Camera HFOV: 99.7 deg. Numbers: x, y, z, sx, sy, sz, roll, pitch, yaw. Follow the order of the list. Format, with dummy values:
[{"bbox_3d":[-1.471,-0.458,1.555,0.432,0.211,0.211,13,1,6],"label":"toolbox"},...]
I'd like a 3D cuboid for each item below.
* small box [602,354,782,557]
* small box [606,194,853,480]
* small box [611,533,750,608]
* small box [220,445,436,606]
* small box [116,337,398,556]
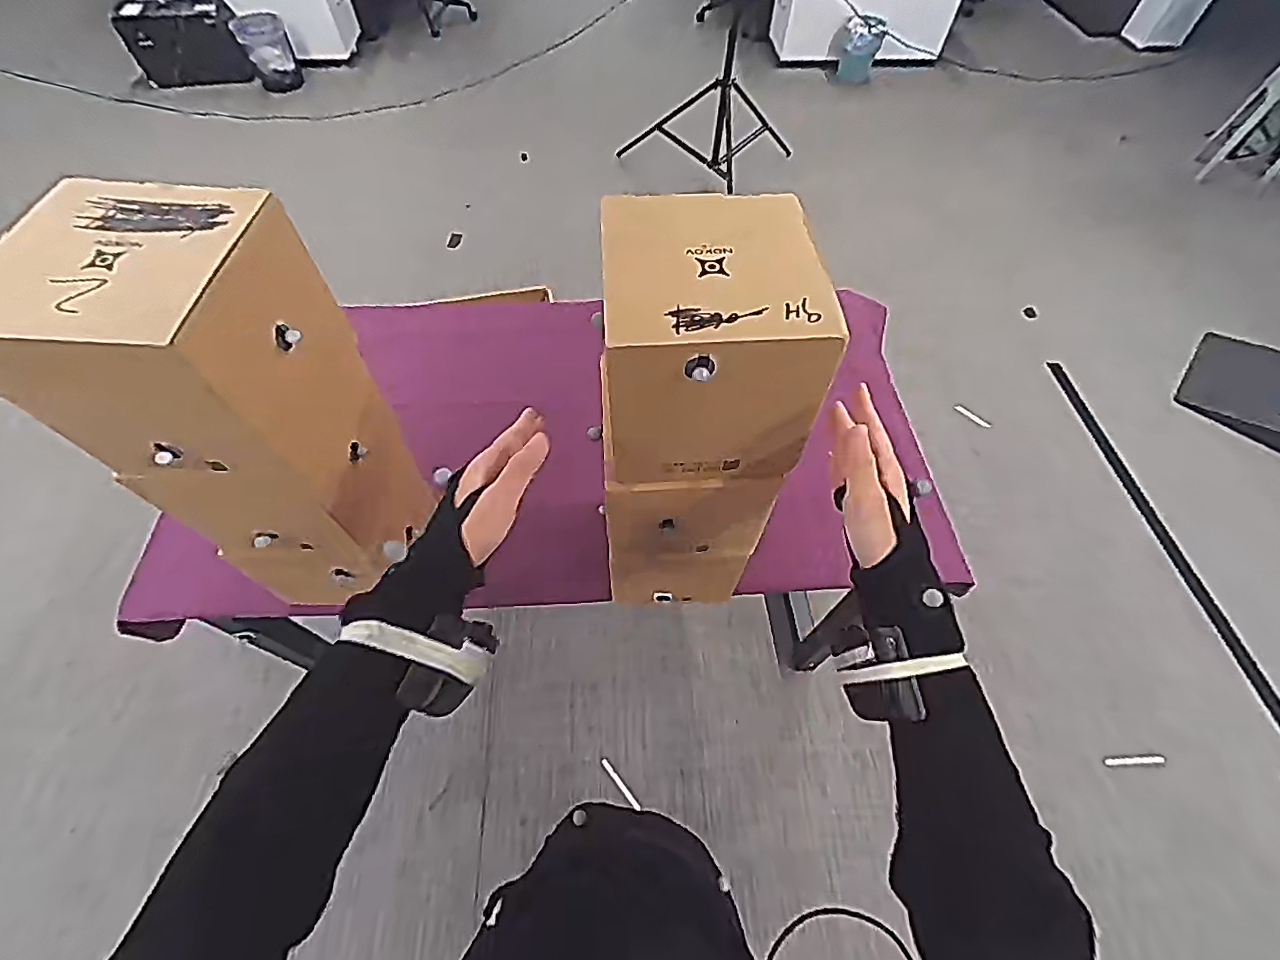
[{"bbox_3d":[0.046,-0.022,0.600,0.168,0.176,0.179,-3,57,-2],"label":"small box"},{"bbox_3d":[0.056,-0.118,0.467,0.168,0.176,0.179,-3,56,-2],"label":"small box"},{"bbox_3d":[0.044,0.062,0.739,0.168,0.176,0.179,-3,59,-1],"label":"small box"},{"bbox_3d":[-0.394,0.063,0.725,0.179,0.176,0.168,1,57,0],"label":"small box"},{"bbox_3d":[-0.387,-0.032,0.592,0.168,0.176,0.179,1,59,-1],"label":"small box"}]
